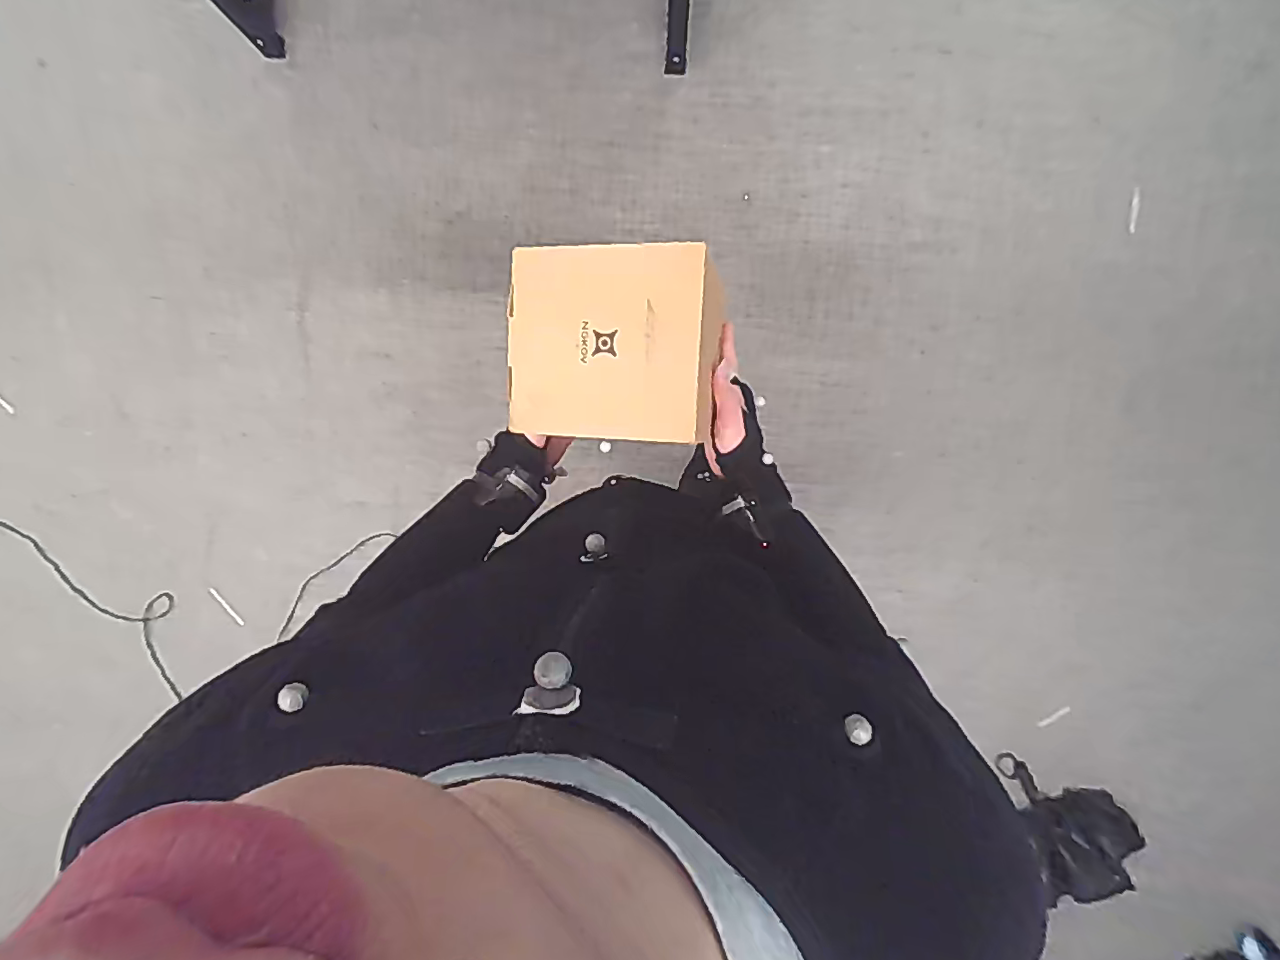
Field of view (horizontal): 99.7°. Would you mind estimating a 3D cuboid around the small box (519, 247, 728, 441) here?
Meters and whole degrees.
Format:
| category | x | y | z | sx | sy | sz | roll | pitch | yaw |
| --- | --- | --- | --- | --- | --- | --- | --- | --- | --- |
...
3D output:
| category | x | y | z | sx | sy | sz | roll | pitch | yaw |
| --- | --- | --- | --- | --- | --- | --- | --- | --- | --- |
| small box | -0.007 | -0.128 | 0.557 | 0.179 | 0.176 | 0.168 | 4 | 97 | 12 |
